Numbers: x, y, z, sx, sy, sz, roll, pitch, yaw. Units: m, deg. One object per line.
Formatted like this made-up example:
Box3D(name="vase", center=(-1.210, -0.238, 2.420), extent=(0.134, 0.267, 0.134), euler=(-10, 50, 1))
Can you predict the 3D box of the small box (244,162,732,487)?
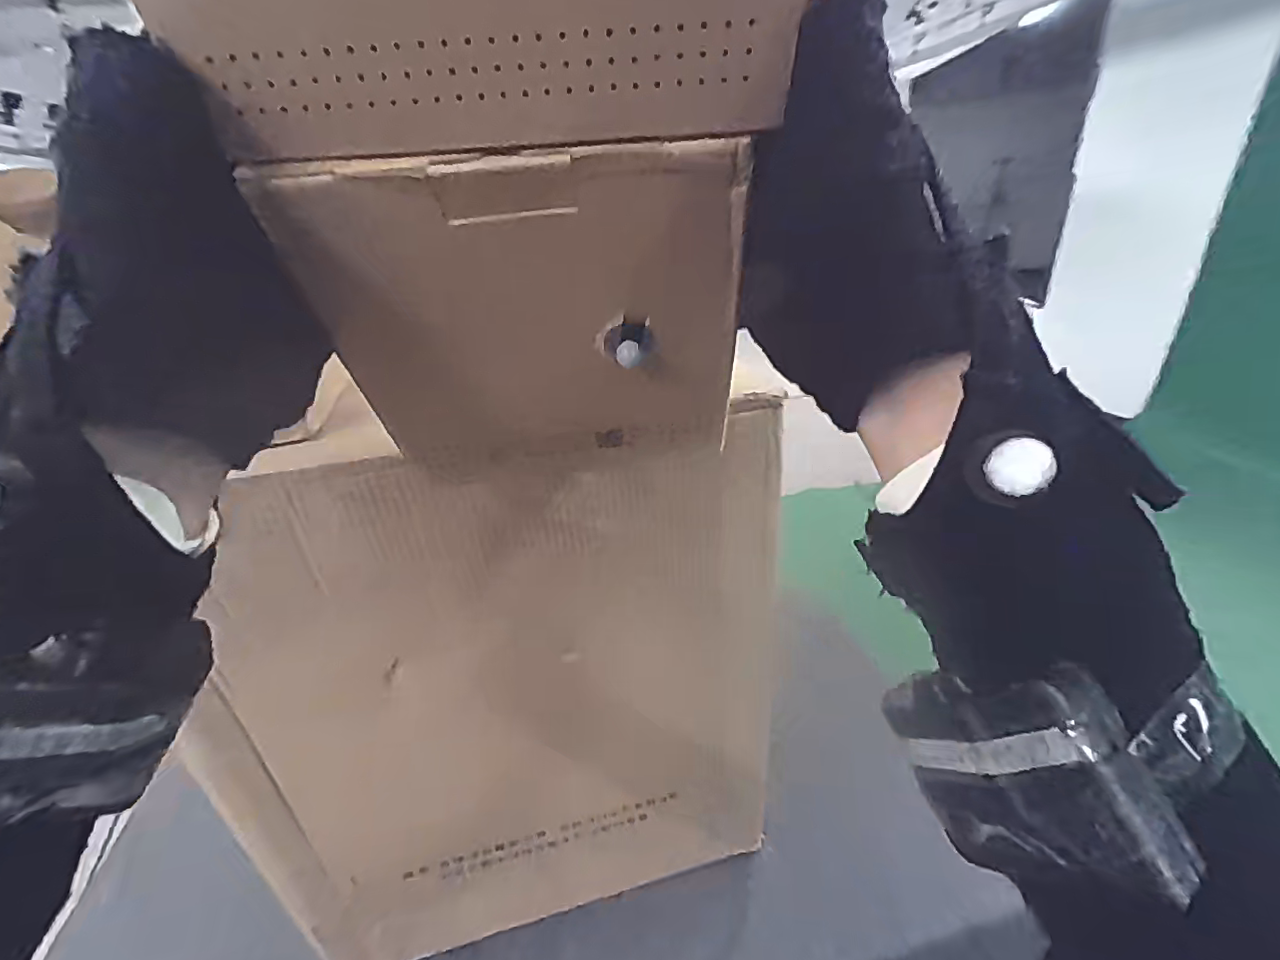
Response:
Box3D(name="small box", center=(-0.052, -0.109, 0.288), extent=(0.168, 0.176, 0.179), euler=(-6, 53, -1))
